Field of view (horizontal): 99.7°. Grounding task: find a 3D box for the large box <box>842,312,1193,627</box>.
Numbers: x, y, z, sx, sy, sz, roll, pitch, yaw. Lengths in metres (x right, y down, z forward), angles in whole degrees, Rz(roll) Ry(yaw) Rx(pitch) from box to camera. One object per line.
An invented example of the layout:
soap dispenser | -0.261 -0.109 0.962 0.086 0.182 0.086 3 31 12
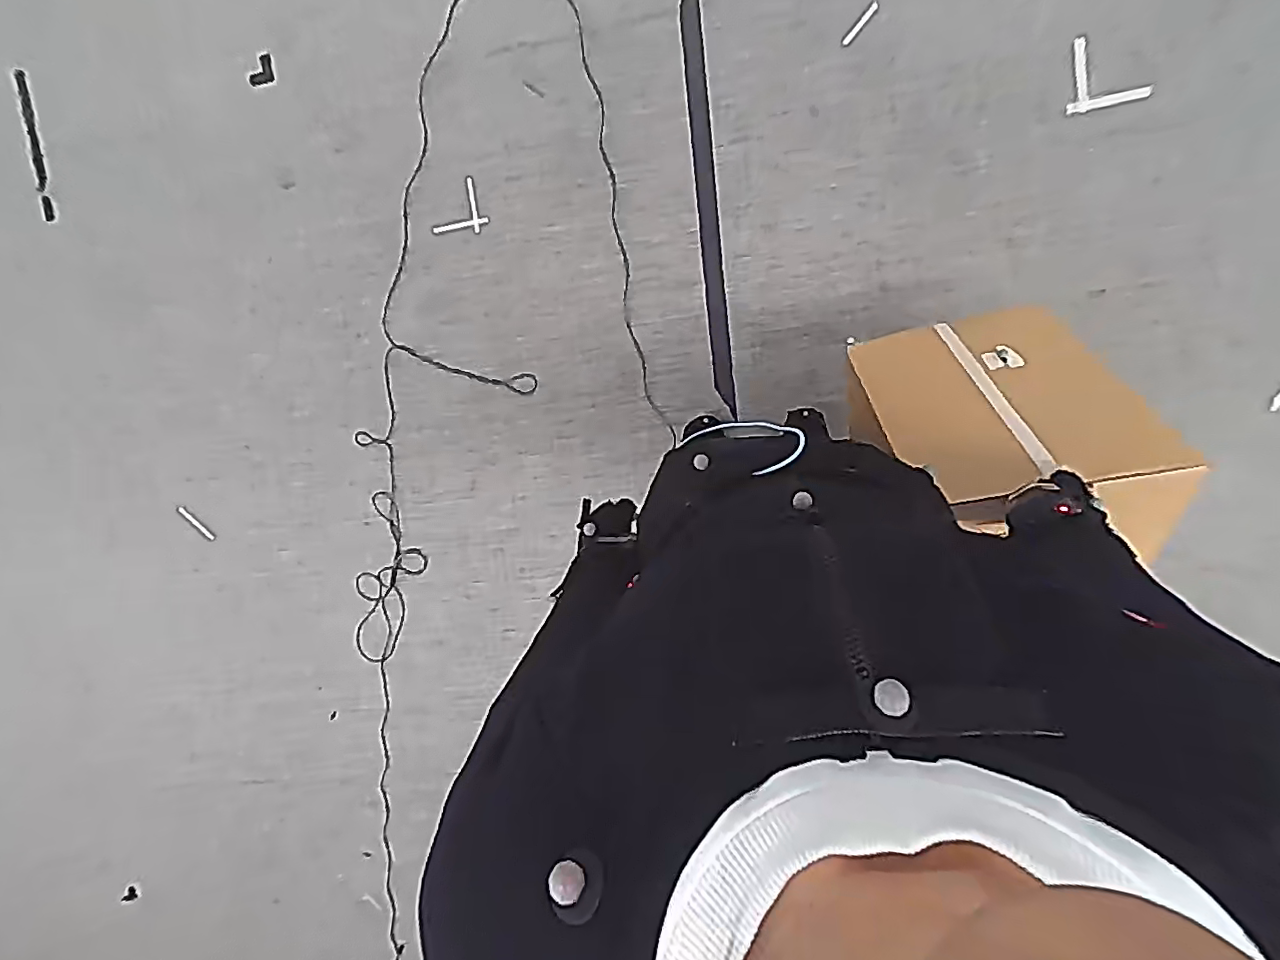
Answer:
large box | 0.555 -0.022 0.910 0.320 0.408 0.320 -10 132 10
